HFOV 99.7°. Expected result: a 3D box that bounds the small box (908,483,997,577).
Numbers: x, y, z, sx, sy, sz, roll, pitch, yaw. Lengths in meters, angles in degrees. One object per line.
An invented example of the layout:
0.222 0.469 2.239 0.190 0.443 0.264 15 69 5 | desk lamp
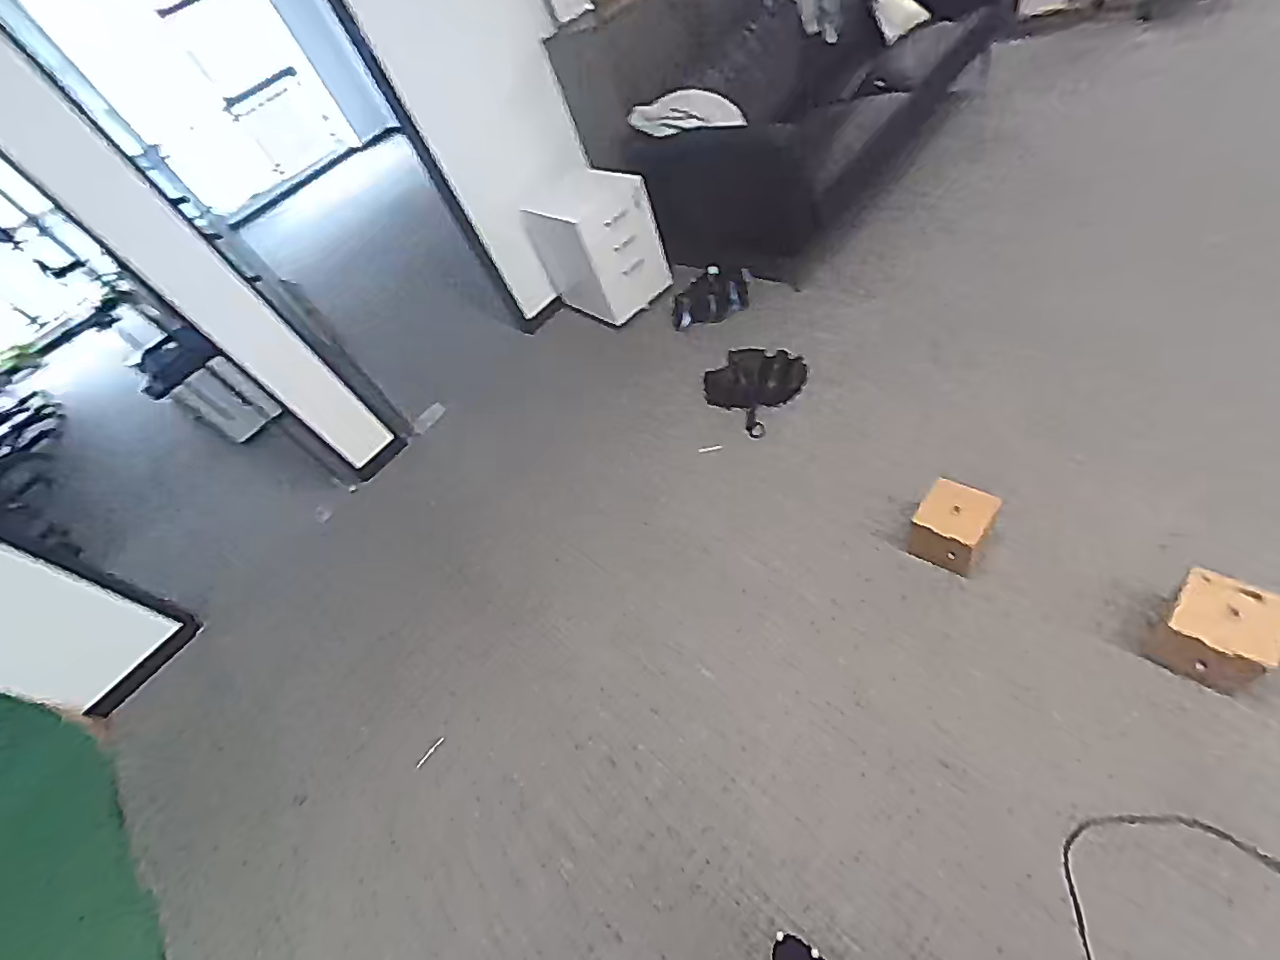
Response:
0.883 0.146 1.542 0.168 0.176 0.179 26 64 37 | small box

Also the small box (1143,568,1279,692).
1.266 0.336 1.201 0.168 0.176 0.179 26 66 38 | small box
